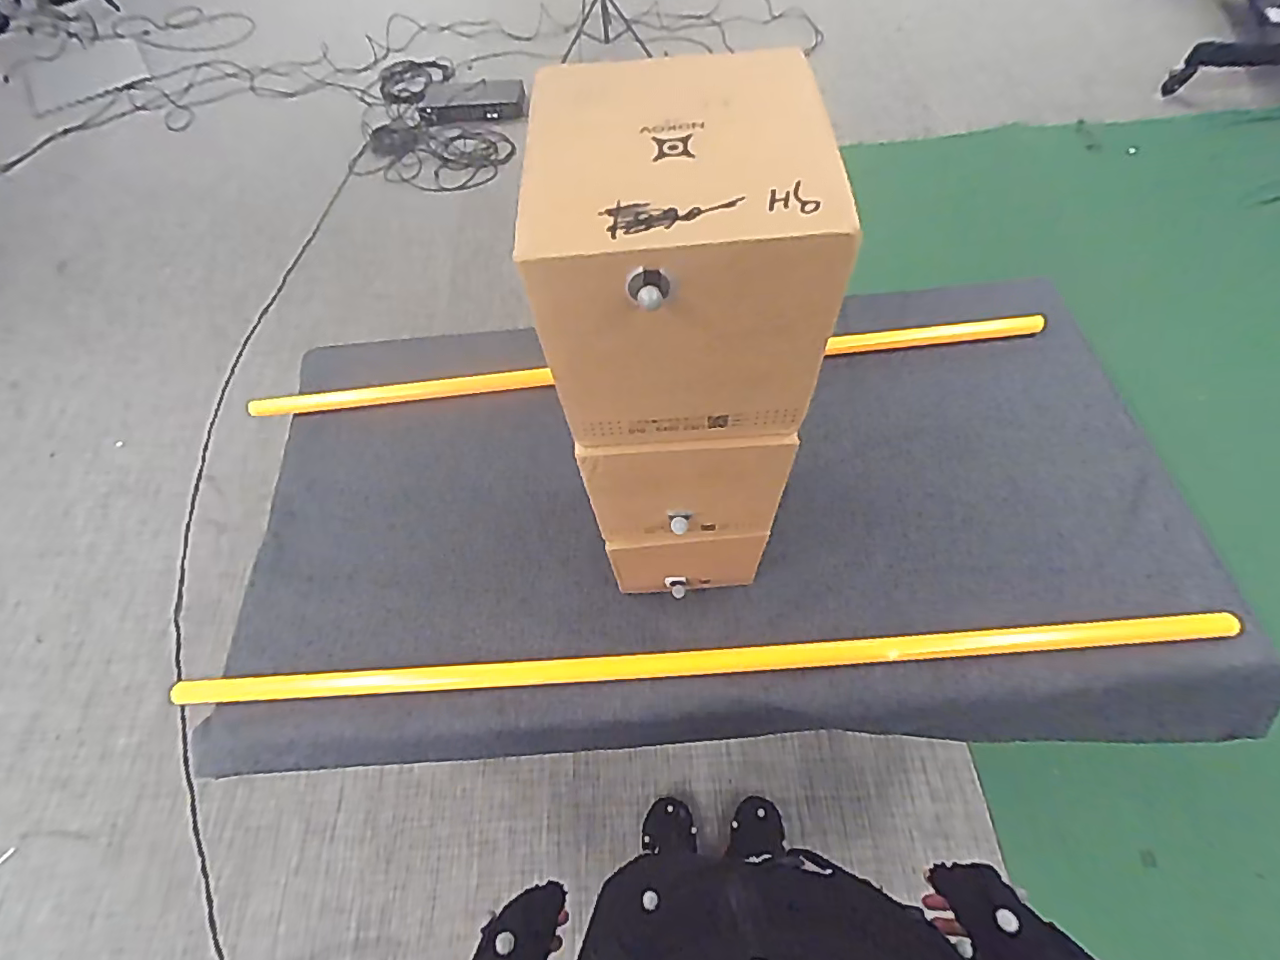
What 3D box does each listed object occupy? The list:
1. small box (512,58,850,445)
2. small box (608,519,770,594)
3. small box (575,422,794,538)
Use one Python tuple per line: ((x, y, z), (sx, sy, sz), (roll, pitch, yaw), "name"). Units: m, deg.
((0.024, -0.144, 0.369), (0.168, 0.176, 0.179), (-4, 60, 5), "small box")
((0.049, 0.024, 0.651), (0.168, 0.176, 0.179), (-7, 62, 2), "small box")
((0.038, -0.059, 0.509), (0.168, 0.176, 0.179), (-3, 62, 4), "small box")
